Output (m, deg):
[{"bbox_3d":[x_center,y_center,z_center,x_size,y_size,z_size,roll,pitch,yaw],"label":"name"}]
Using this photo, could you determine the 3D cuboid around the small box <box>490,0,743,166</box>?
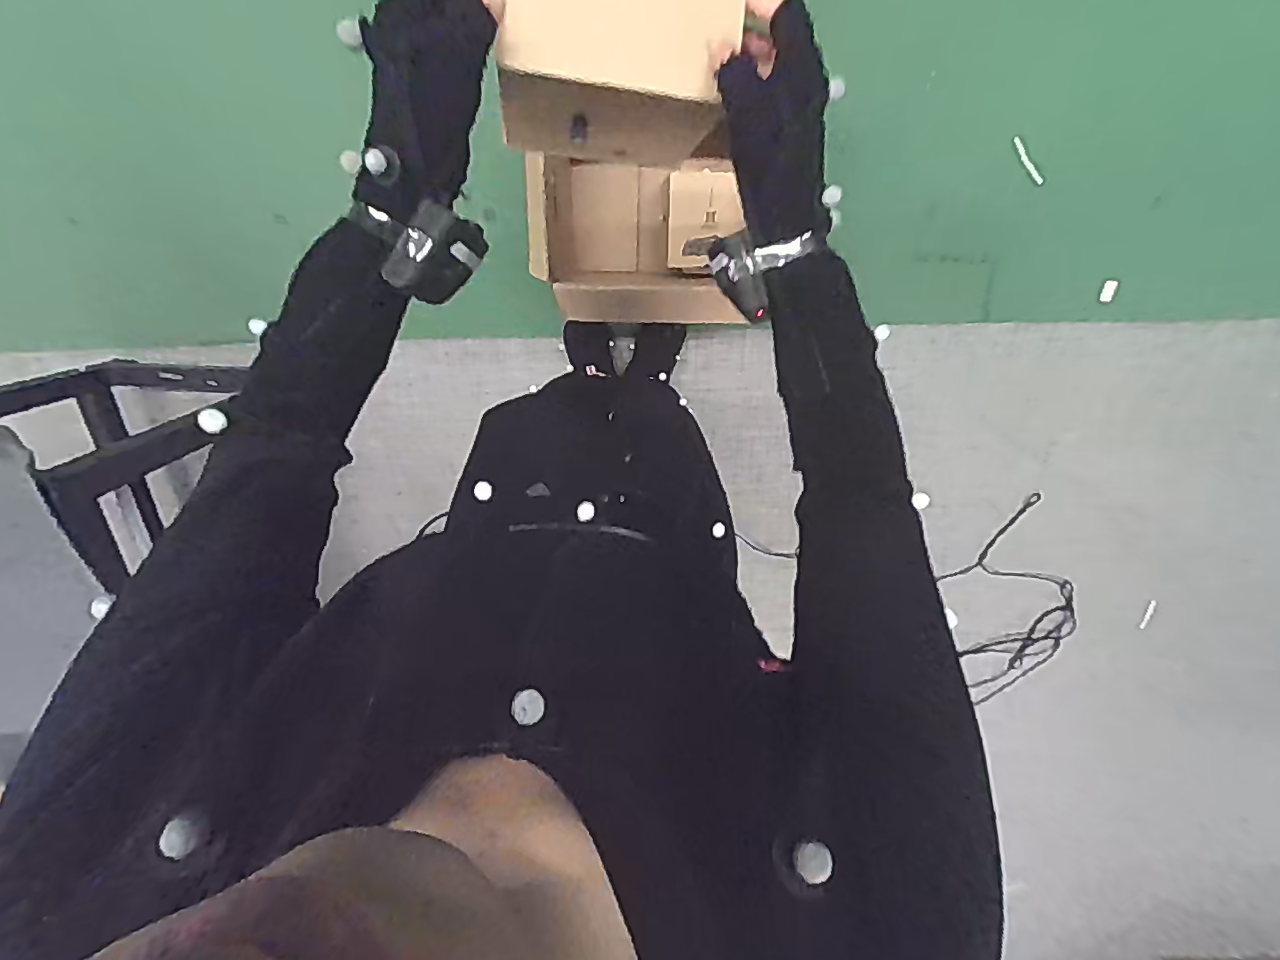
[{"bbox_3d":[-0.023,-0.364,0.413,0.168,0.176,0.179,0,104,-11],"label":"small box"}]
